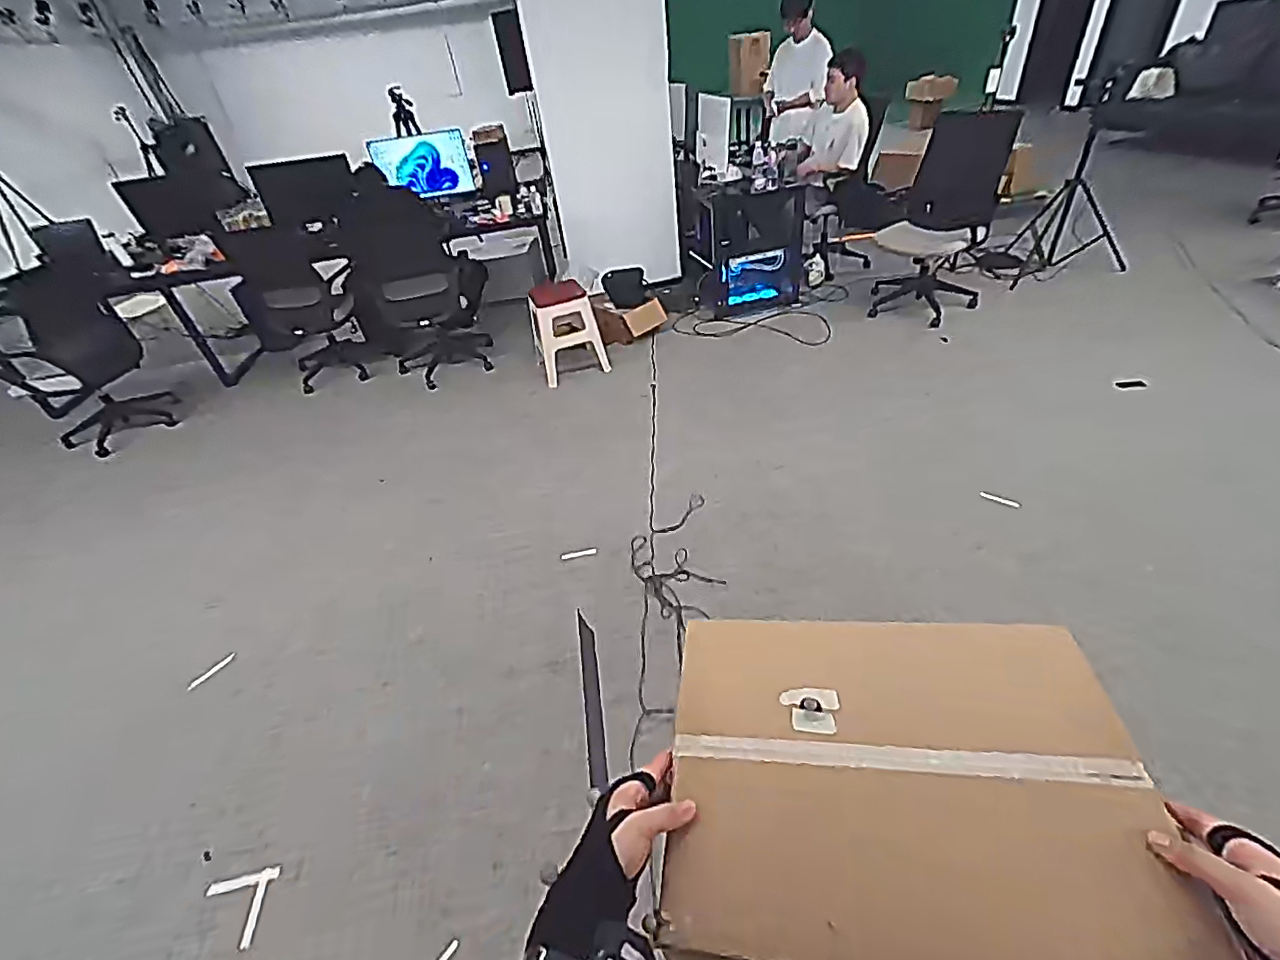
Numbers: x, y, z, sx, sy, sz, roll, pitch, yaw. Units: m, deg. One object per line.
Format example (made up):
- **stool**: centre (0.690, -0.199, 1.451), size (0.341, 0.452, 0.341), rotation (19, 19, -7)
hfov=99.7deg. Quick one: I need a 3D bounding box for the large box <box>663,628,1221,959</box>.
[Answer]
- **large box**: centre (0.259, 0.386, 0.605), size (0.408, 0.320, 0.320), rotation (-3, 37, 13)
